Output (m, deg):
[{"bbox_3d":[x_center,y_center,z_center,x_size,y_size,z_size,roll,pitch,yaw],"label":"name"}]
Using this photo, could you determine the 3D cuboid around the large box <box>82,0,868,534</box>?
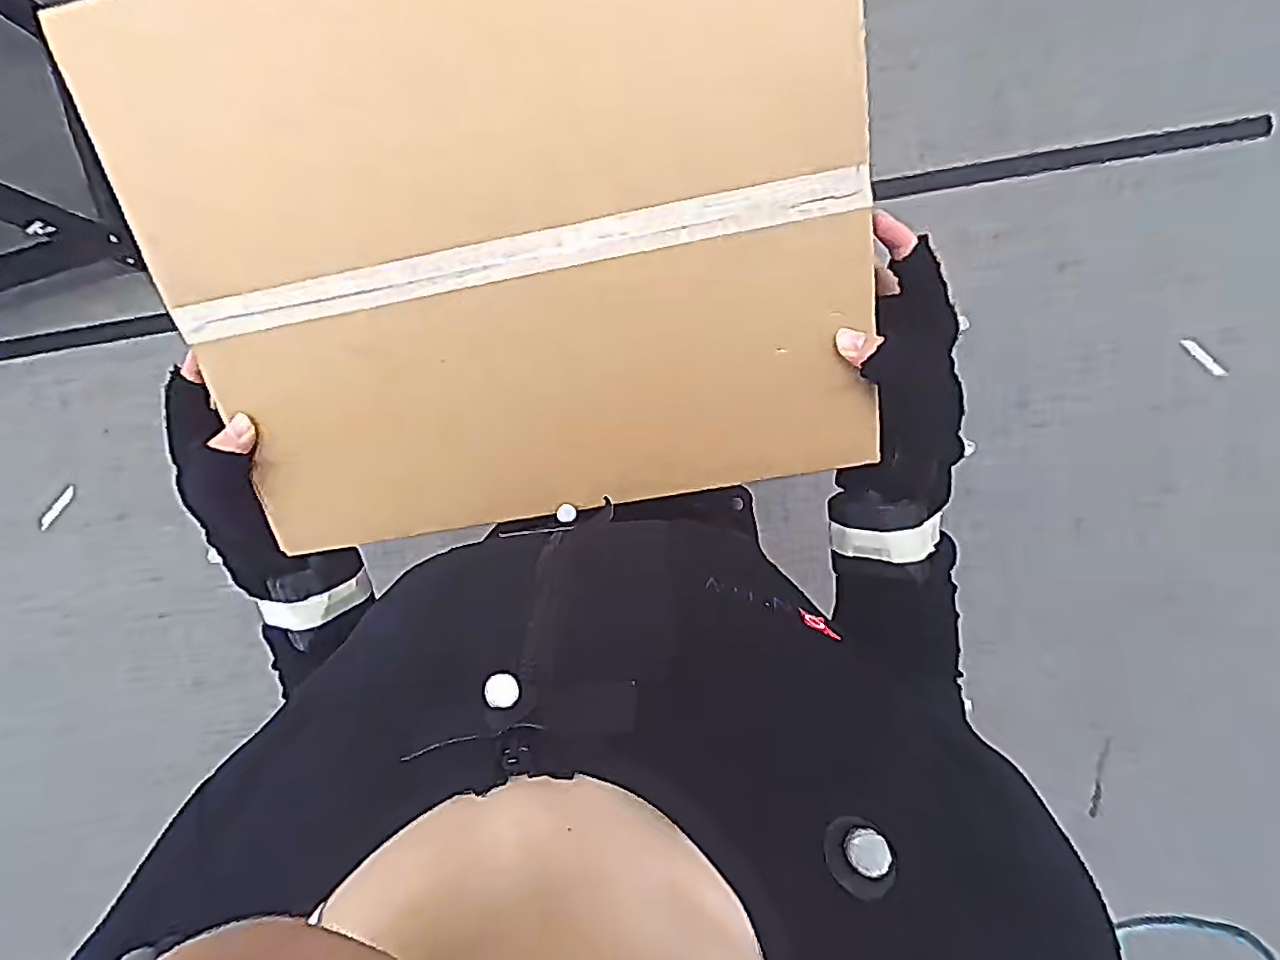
[{"bbox_3d":[-0.073,-0.185,0.455,0.408,0.320,0.320,-9,110,5],"label":"large box"}]
